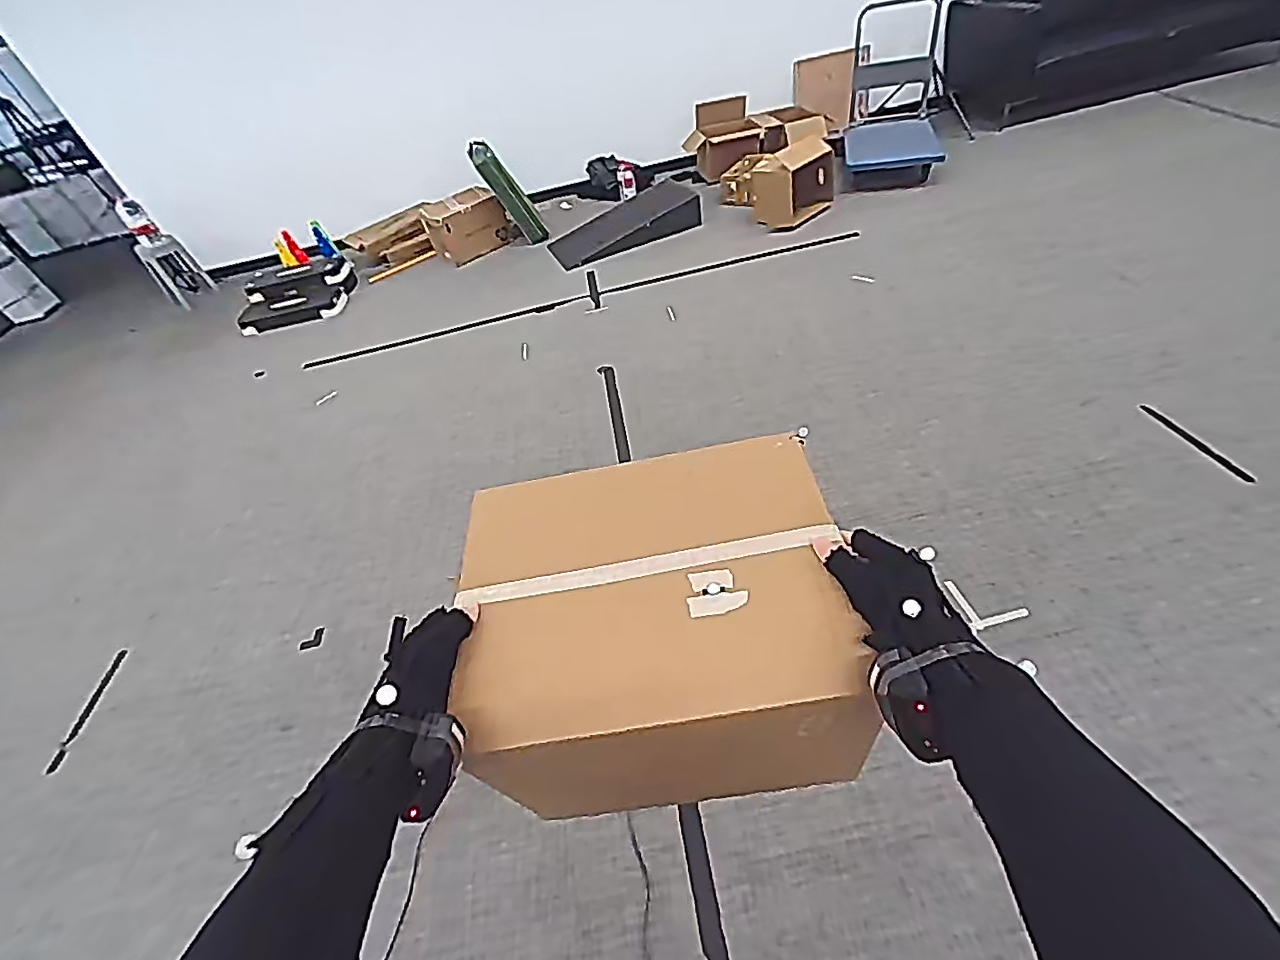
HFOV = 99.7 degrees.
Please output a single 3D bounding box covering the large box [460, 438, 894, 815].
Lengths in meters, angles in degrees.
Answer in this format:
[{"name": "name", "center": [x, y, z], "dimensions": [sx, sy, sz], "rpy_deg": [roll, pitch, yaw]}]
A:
[{"name": "large box", "center": [0.037, 0.193, 0.687], "dimensions": [0.408, 0.320, 0.320], "rpy_deg": [-10, 48, 3]}]
